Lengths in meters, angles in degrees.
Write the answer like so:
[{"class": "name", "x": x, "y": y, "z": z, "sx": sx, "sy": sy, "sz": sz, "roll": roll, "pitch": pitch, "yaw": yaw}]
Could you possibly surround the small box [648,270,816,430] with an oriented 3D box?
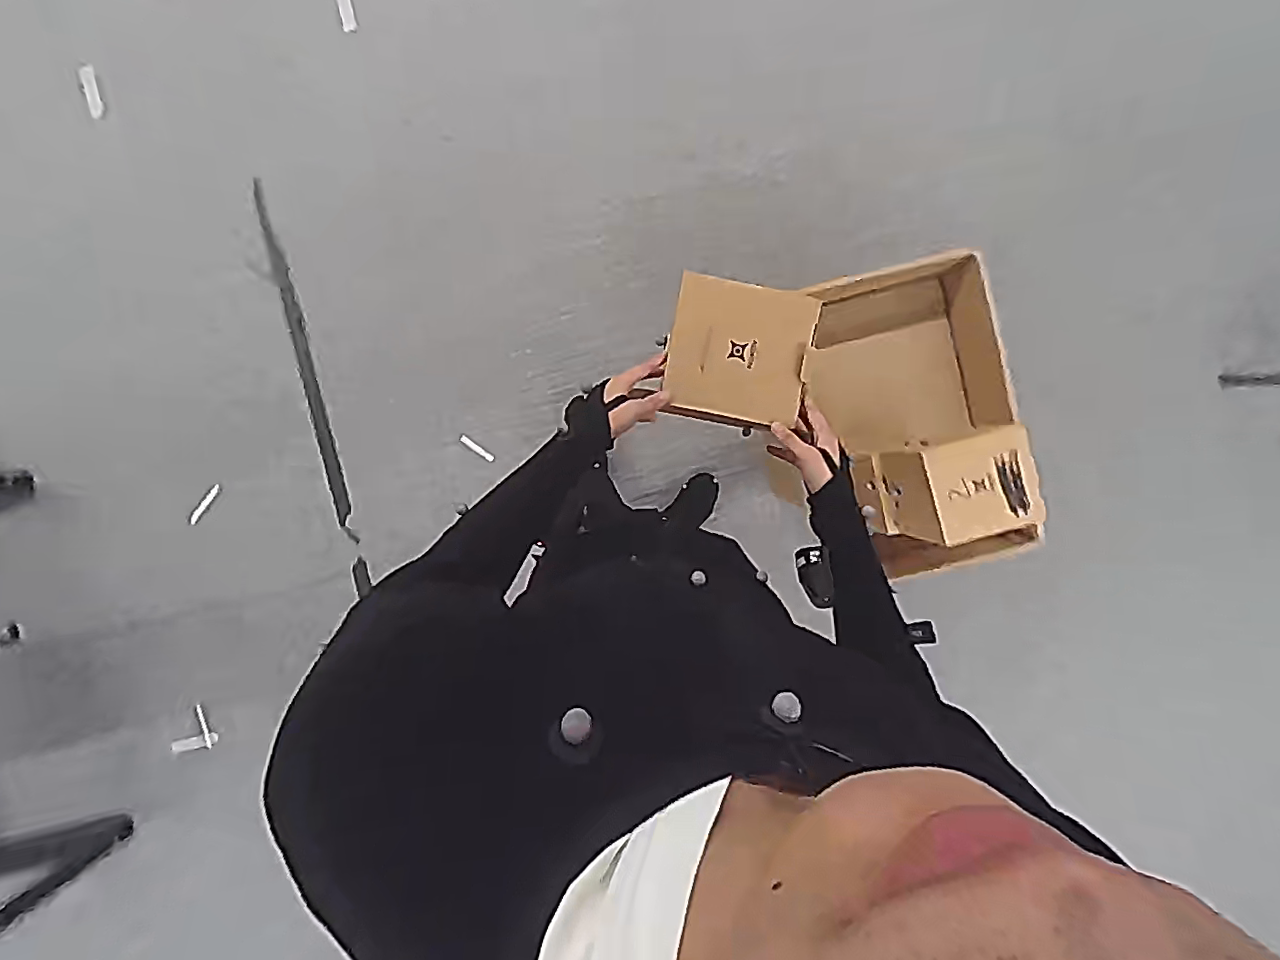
[{"class": "small box", "x": 0.113, "y": -0.162, "z": 0.736, "sx": 0.179, "sy": 0.176, "sz": 0.168, "roll": 10, "pitch": 92, "yaw": -2}]
